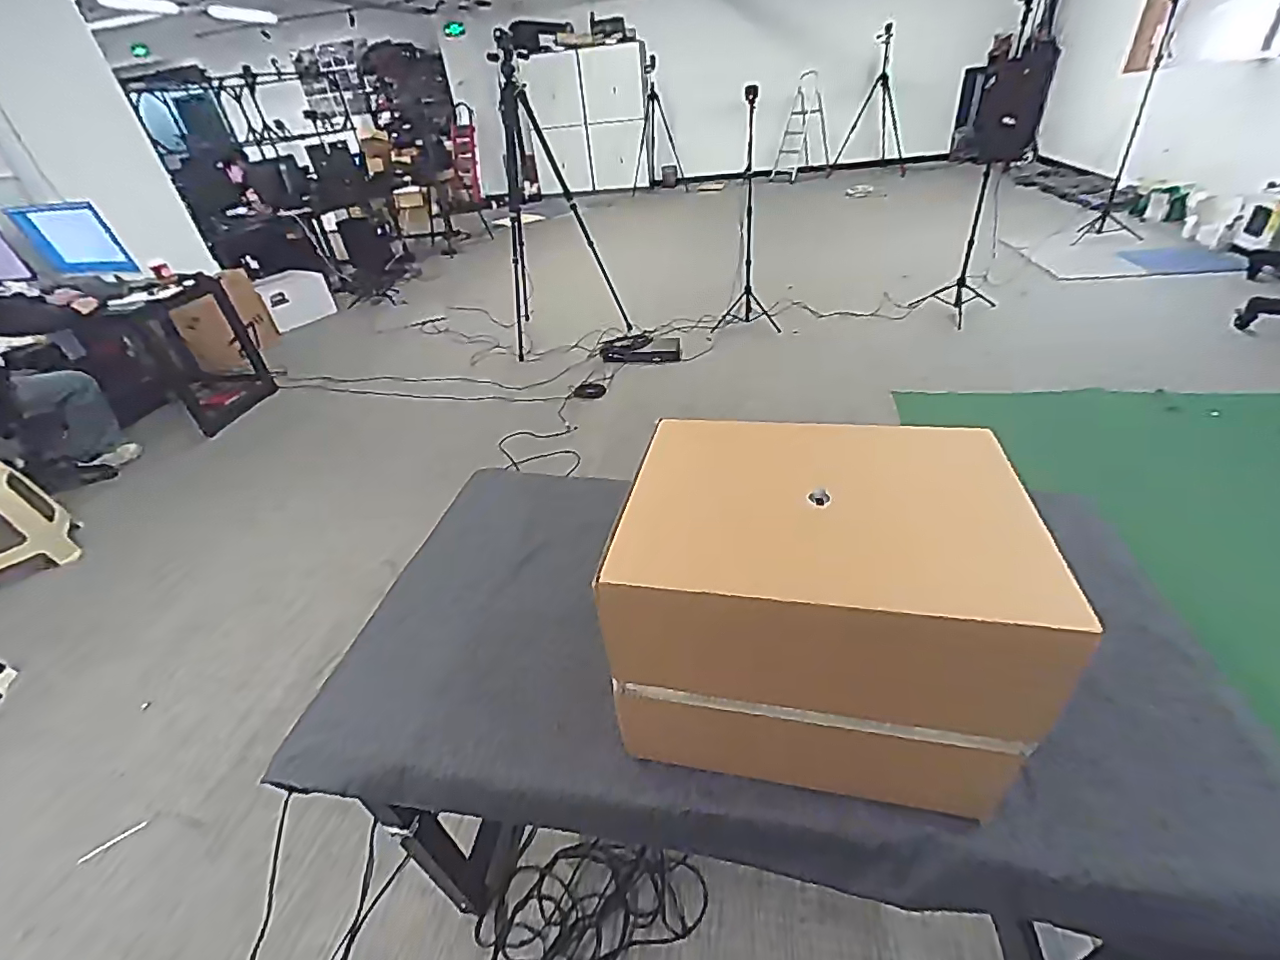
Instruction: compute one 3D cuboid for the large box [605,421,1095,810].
[{"bbox_3d":[0.202,0.143,0.656,0.408,0.320,0.320,3,36,12],"label":"large box"}]
